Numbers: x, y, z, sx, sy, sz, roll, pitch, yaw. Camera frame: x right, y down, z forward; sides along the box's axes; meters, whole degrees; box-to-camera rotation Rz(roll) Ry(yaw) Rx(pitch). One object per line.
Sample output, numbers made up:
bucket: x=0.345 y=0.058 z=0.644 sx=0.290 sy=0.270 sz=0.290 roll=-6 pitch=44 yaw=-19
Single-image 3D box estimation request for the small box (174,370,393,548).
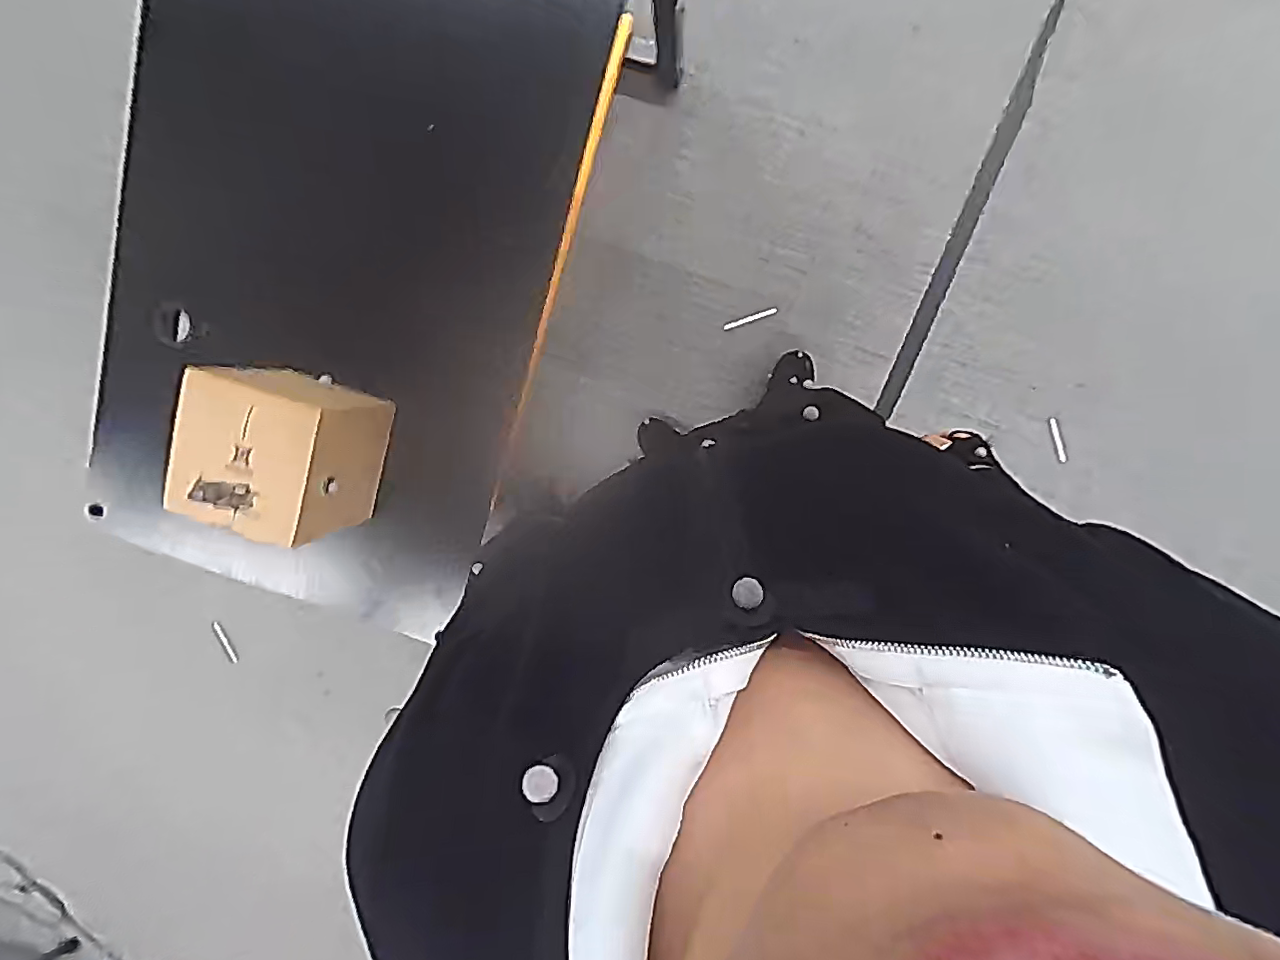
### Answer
small box: x=-0.455 y=-0.036 z=0.714 sx=0.168 sy=0.176 sz=0.179 roll=17 pitch=100 yaw=1
